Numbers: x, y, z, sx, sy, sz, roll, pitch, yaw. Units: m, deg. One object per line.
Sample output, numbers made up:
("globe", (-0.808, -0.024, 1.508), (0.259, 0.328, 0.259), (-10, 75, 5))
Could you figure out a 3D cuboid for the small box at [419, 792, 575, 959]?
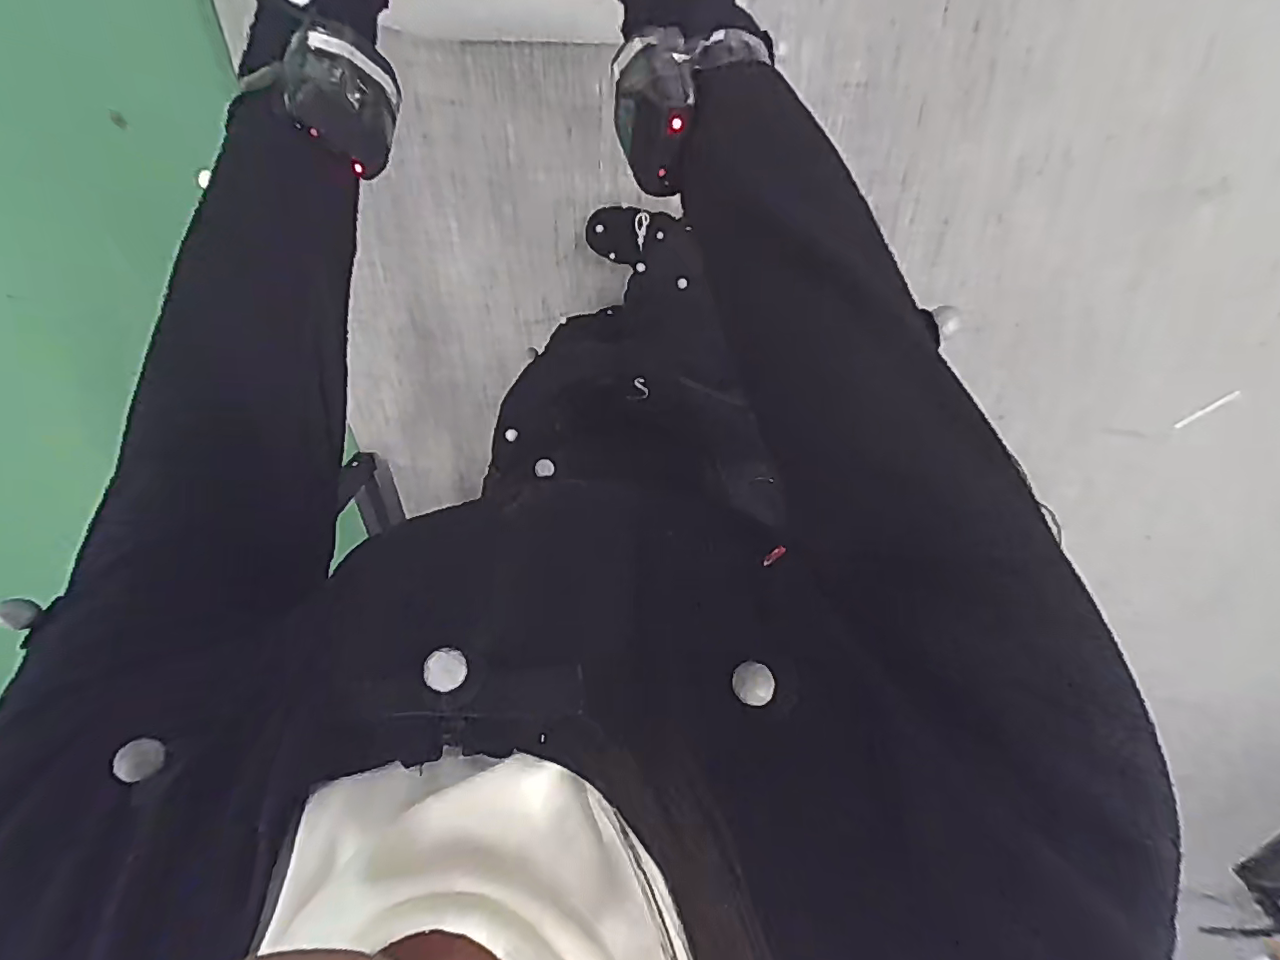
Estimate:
("small box", (-0.195, 0.592, 0.796), (0.168, 0.176, 0.179), (3, 127, 4))
